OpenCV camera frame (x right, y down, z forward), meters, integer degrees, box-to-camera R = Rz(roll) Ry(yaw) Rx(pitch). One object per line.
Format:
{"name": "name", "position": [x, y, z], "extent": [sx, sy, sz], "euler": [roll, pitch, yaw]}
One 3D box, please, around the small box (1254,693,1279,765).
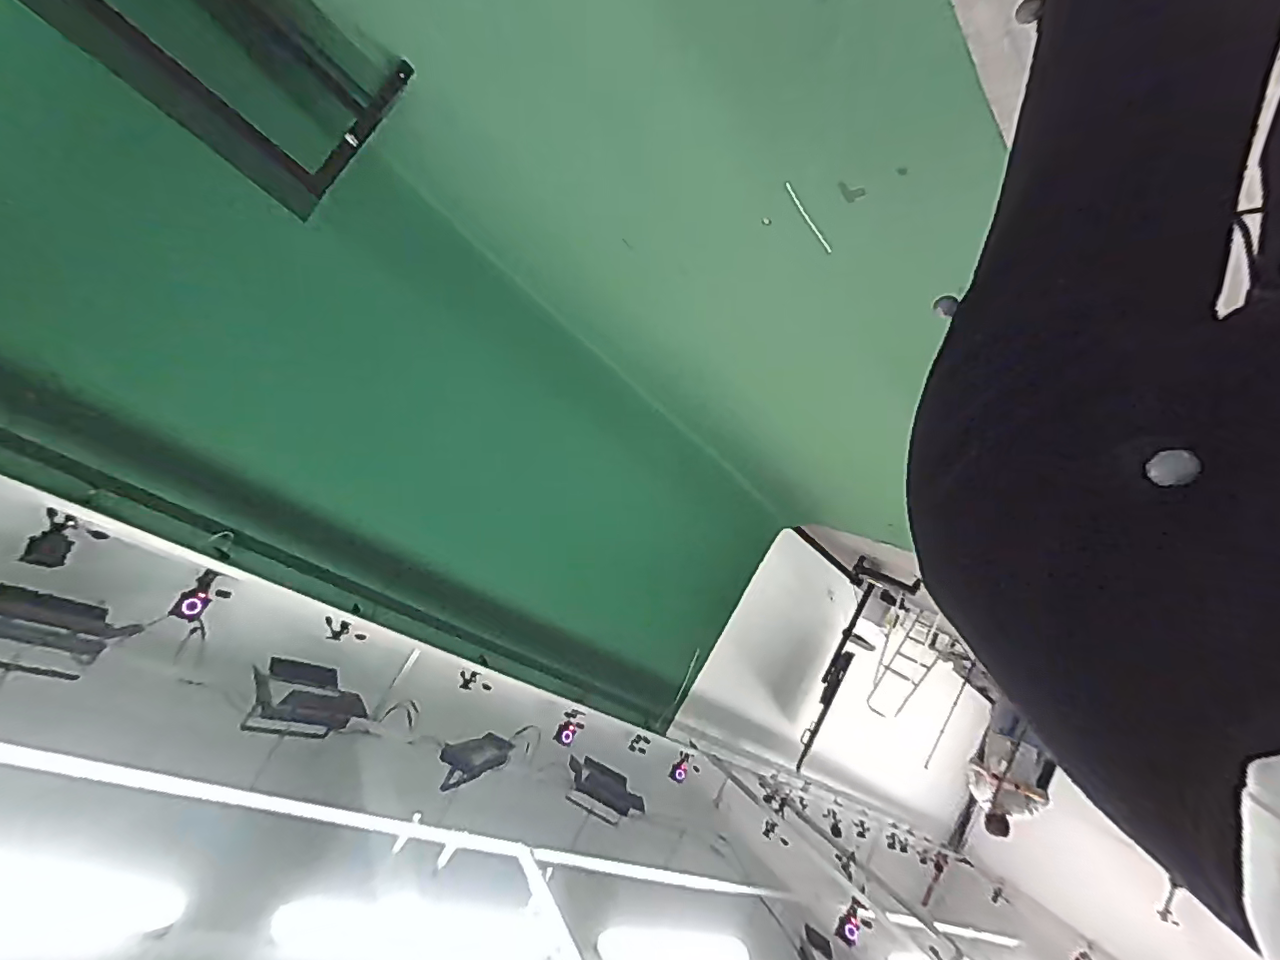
{"name": "small box", "position": [1.869, 0.724, 1.508], "extent": [0.179, 0.176, 0.168], "euler": [37, 170, -31]}
